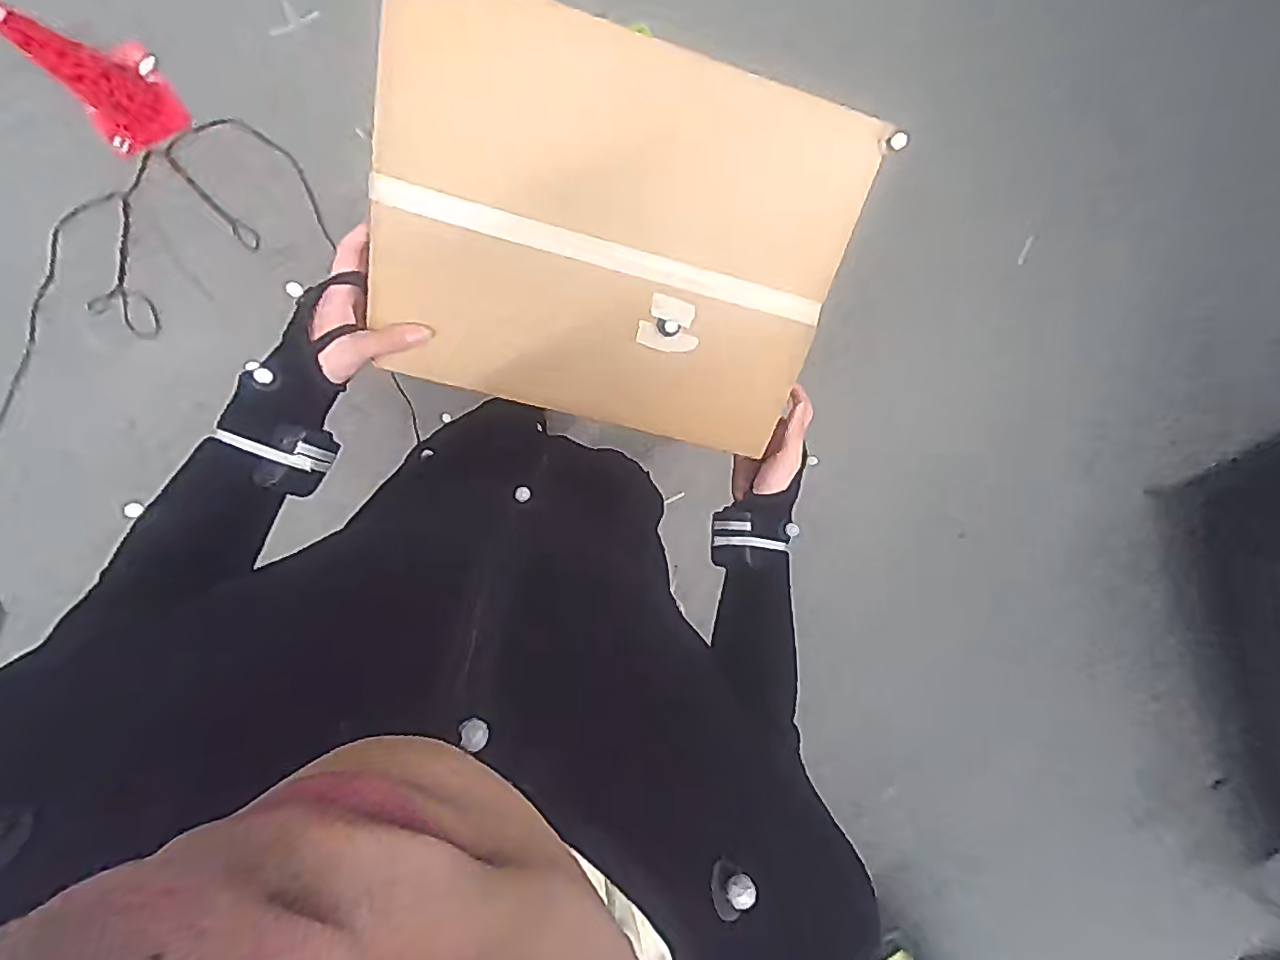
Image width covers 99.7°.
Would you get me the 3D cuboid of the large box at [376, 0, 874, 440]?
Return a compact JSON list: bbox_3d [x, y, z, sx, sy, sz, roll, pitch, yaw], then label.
[{"bbox_3d":[-0.039,-0.275,0.619,0.408,0.320,0.320,11,116,-10],"label":"large box"}]
